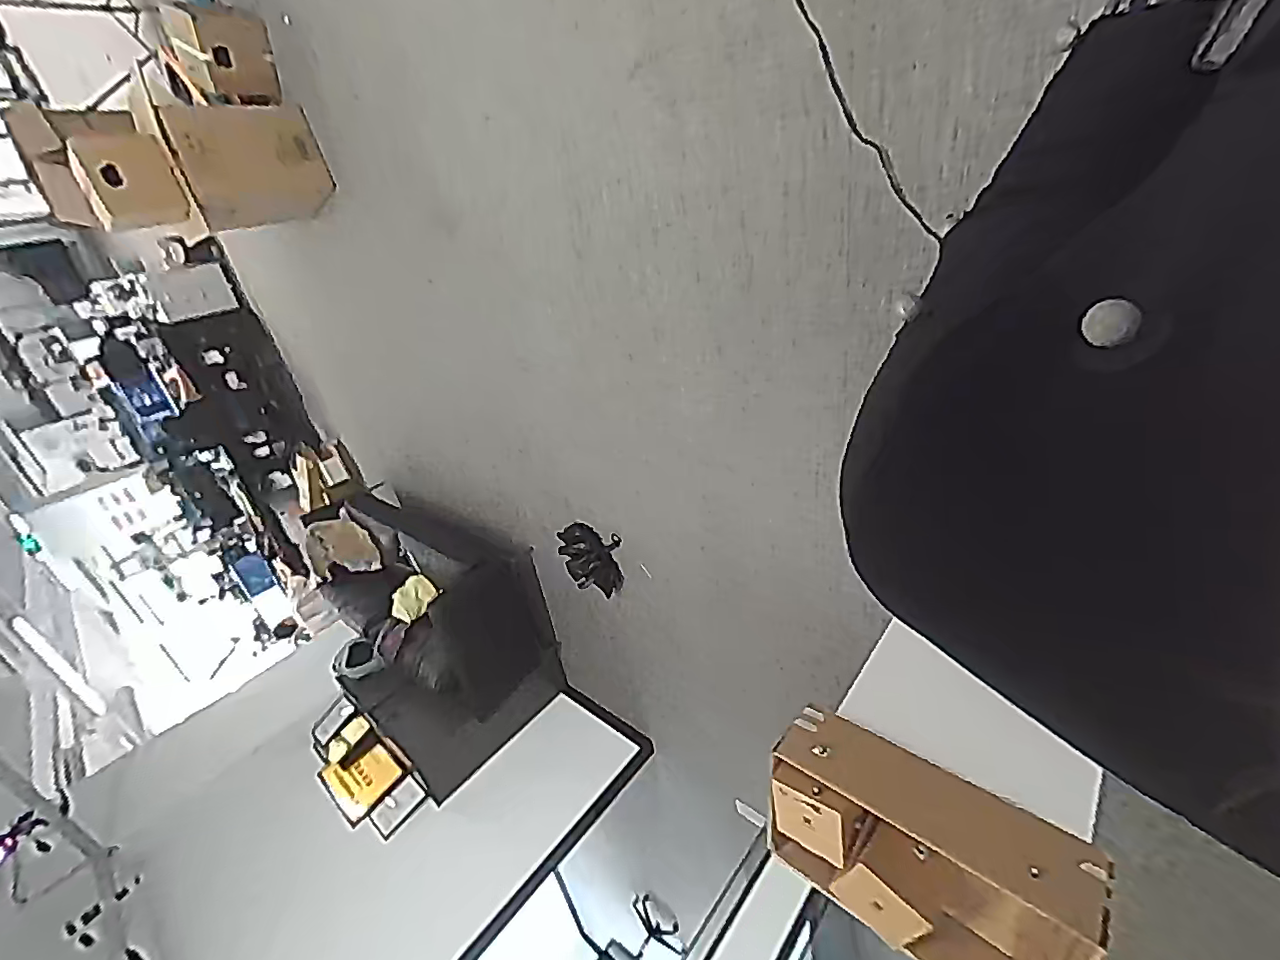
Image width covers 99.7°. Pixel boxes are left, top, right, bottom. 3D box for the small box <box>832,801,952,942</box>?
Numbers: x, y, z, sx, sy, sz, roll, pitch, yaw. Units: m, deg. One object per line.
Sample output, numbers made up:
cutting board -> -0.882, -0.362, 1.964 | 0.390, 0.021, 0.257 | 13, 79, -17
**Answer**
small box -> 0.577, 0.886, 1.233 | 0.168, 0.176, 0.179 | 34, 131, 26
